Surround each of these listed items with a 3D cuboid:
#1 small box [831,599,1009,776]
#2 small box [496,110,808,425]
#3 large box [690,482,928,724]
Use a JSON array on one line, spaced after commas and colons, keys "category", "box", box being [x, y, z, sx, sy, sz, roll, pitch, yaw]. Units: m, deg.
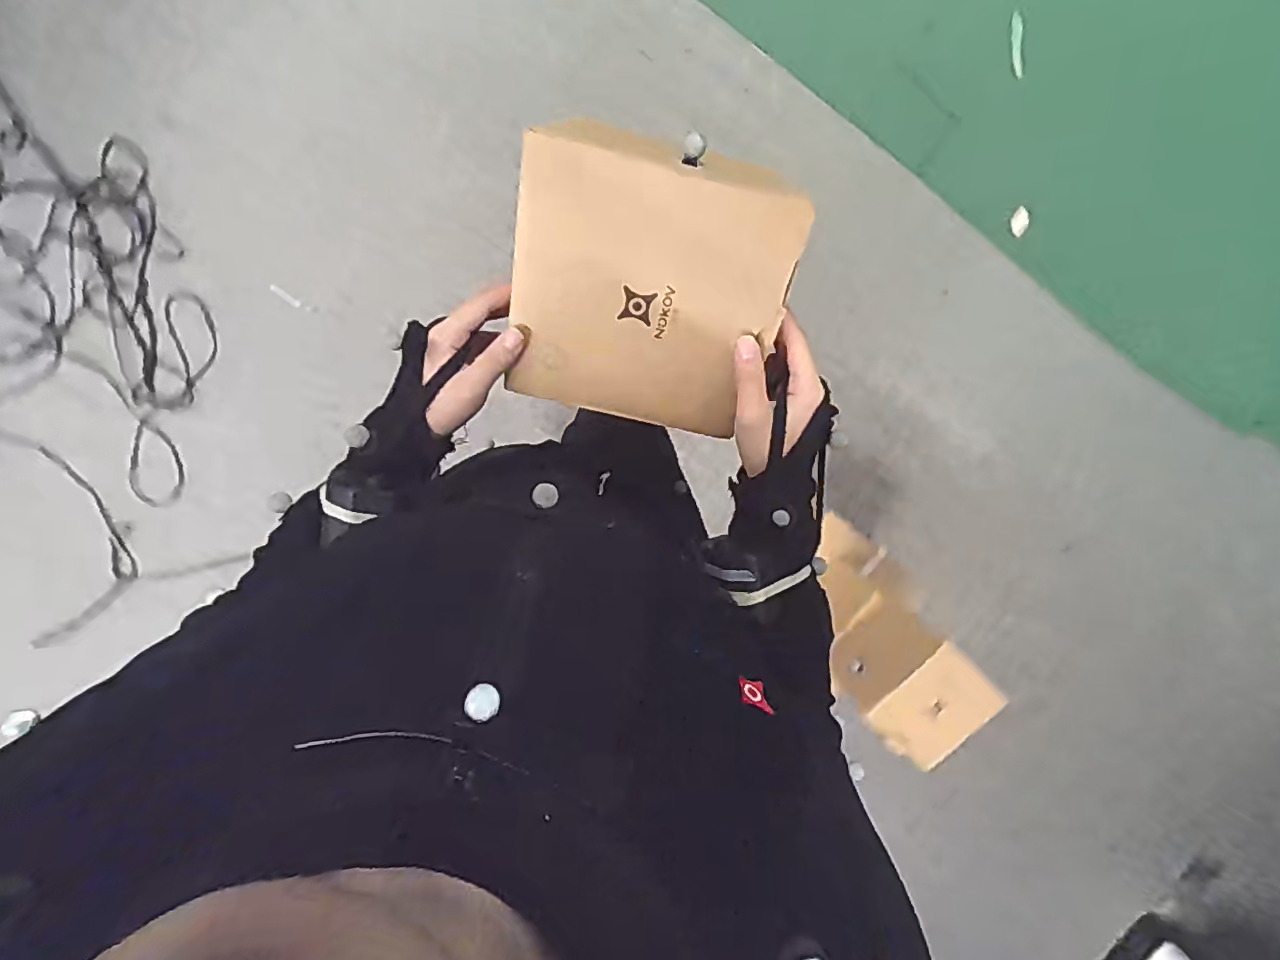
[{"category": "small box", "box": [0.449, 0.337, 0.905, 0.168, 0.176, 0.179, 42, 97, -13]}, {"category": "small box", "box": [0.001, -0.167, 0.414, 0.179, 0.176, 0.168, 10, 126, -4]}, {"category": "large box", "box": [0.377, 0.275, 1.304, 0.320, 0.320, 0.408, 38, 99, -10]}]
